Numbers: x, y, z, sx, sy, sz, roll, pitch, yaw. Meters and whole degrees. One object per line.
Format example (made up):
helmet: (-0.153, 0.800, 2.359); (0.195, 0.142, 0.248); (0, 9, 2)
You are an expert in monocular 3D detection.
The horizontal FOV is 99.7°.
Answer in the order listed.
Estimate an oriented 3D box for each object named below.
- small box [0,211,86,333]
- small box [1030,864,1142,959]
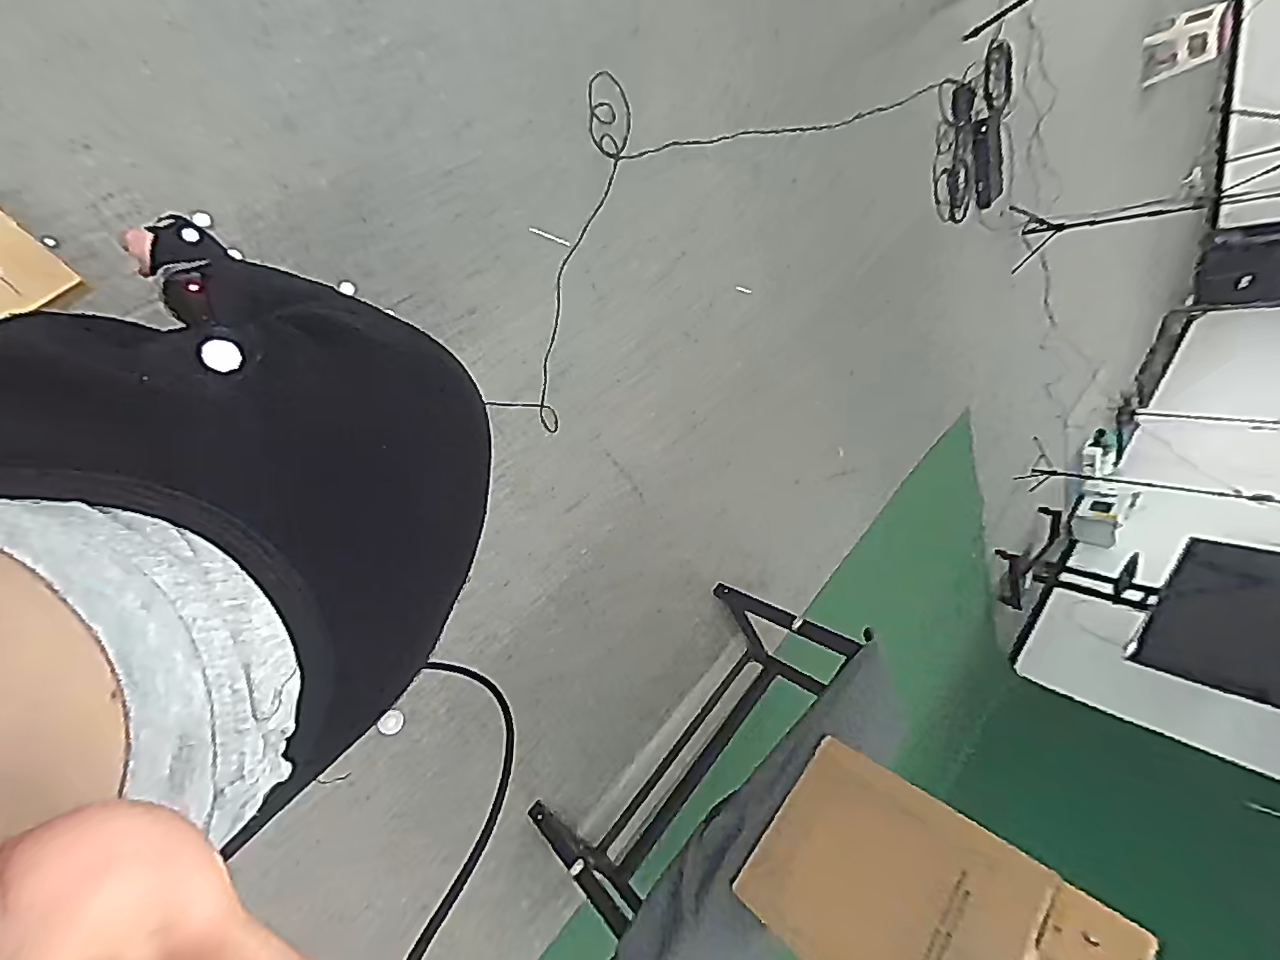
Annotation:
small box: (-1.139, -0.373, 0.944); (0.168, 0.176, 0.179); (-49, 127, -19)
small box: (1.031, 1.042, 1.254); (0.168, 0.176, 0.179); (-46, 124, -23)
